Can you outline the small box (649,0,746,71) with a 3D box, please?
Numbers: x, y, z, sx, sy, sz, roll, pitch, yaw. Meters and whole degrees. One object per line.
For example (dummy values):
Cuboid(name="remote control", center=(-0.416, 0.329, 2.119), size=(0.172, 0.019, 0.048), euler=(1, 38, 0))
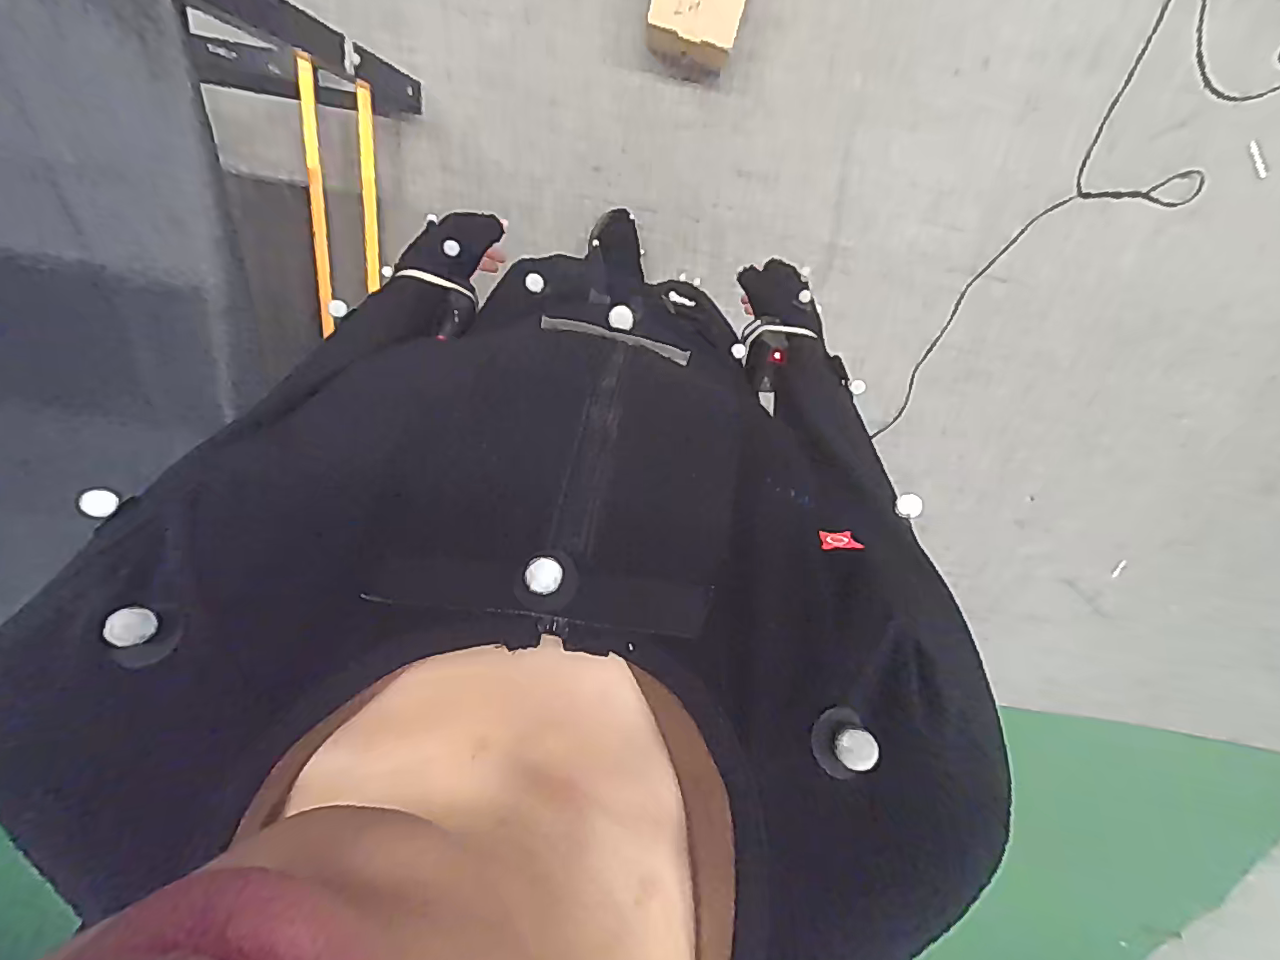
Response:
Cuboid(name="small box", center=(0.116, -0.926, 1.032), size=(0.168, 0.176, 0.179), euler=(14, 115, -5))
